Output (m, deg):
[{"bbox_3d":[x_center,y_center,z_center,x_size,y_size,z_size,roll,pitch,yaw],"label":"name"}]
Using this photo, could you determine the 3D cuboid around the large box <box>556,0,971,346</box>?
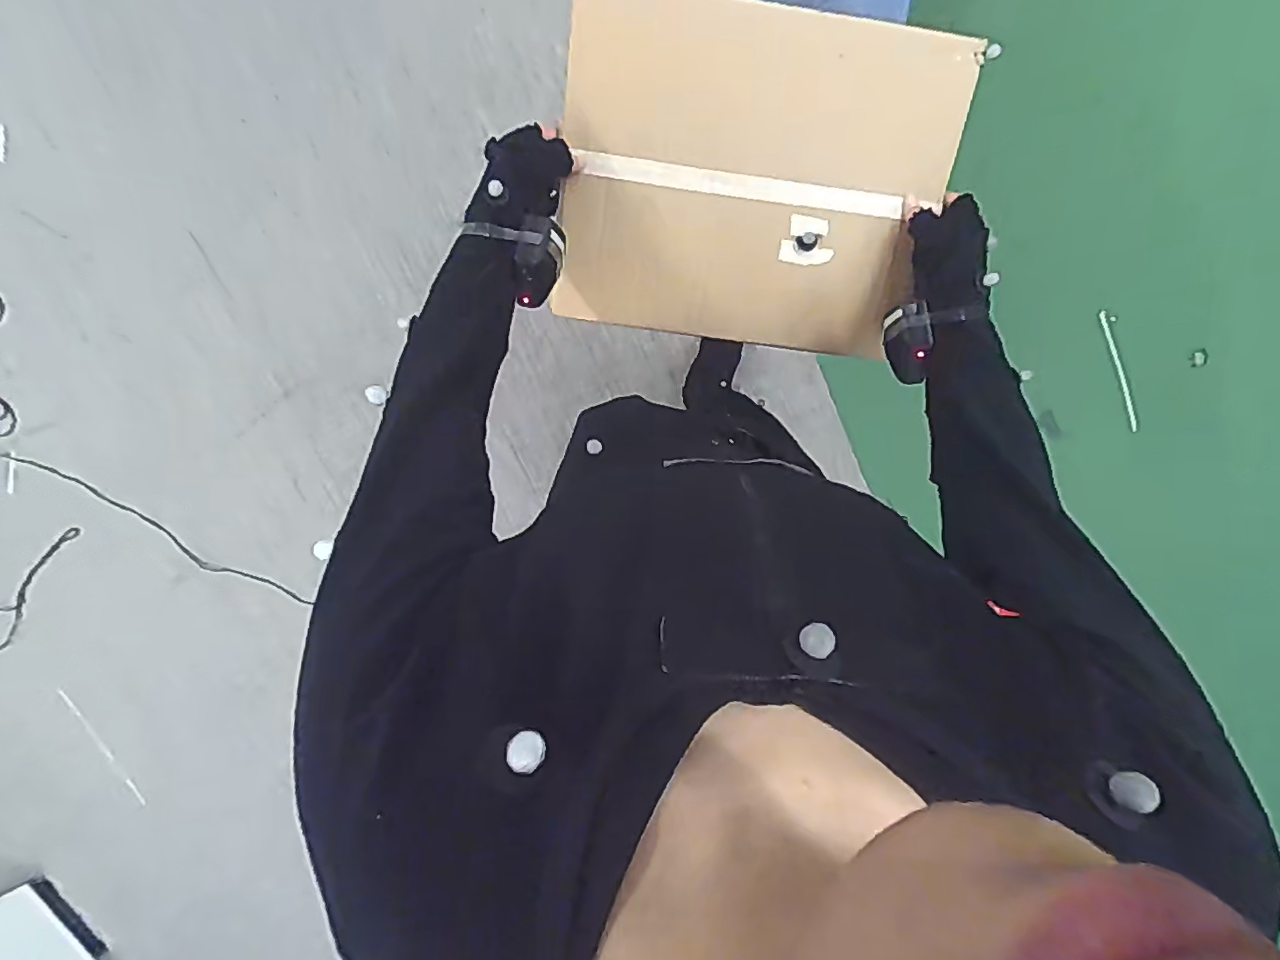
[{"bbox_3d":[0.112,-0.364,0.712,0.408,0.320,0.320,6,109,-4],"label":"large box"}]
